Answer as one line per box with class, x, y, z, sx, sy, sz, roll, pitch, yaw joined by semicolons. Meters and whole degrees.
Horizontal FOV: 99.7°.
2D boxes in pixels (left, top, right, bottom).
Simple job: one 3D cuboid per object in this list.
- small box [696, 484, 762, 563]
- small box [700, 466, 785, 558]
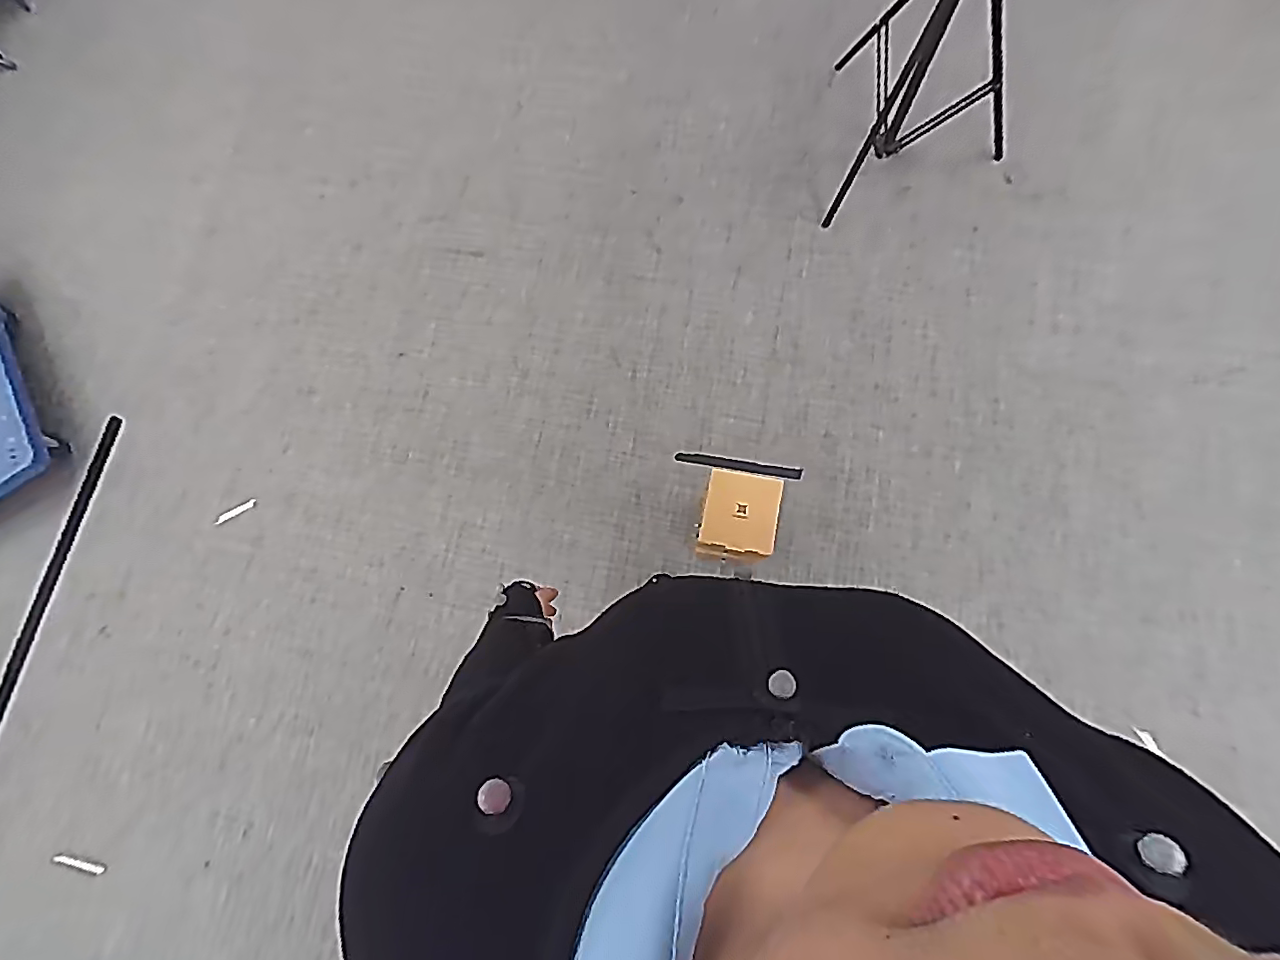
small box;0.244;0.122;1.442;0.168;0.176;0.179;8;79;6
small box;0.236;0.081;1.284;0.168;0.176;0.179;10;80;7
